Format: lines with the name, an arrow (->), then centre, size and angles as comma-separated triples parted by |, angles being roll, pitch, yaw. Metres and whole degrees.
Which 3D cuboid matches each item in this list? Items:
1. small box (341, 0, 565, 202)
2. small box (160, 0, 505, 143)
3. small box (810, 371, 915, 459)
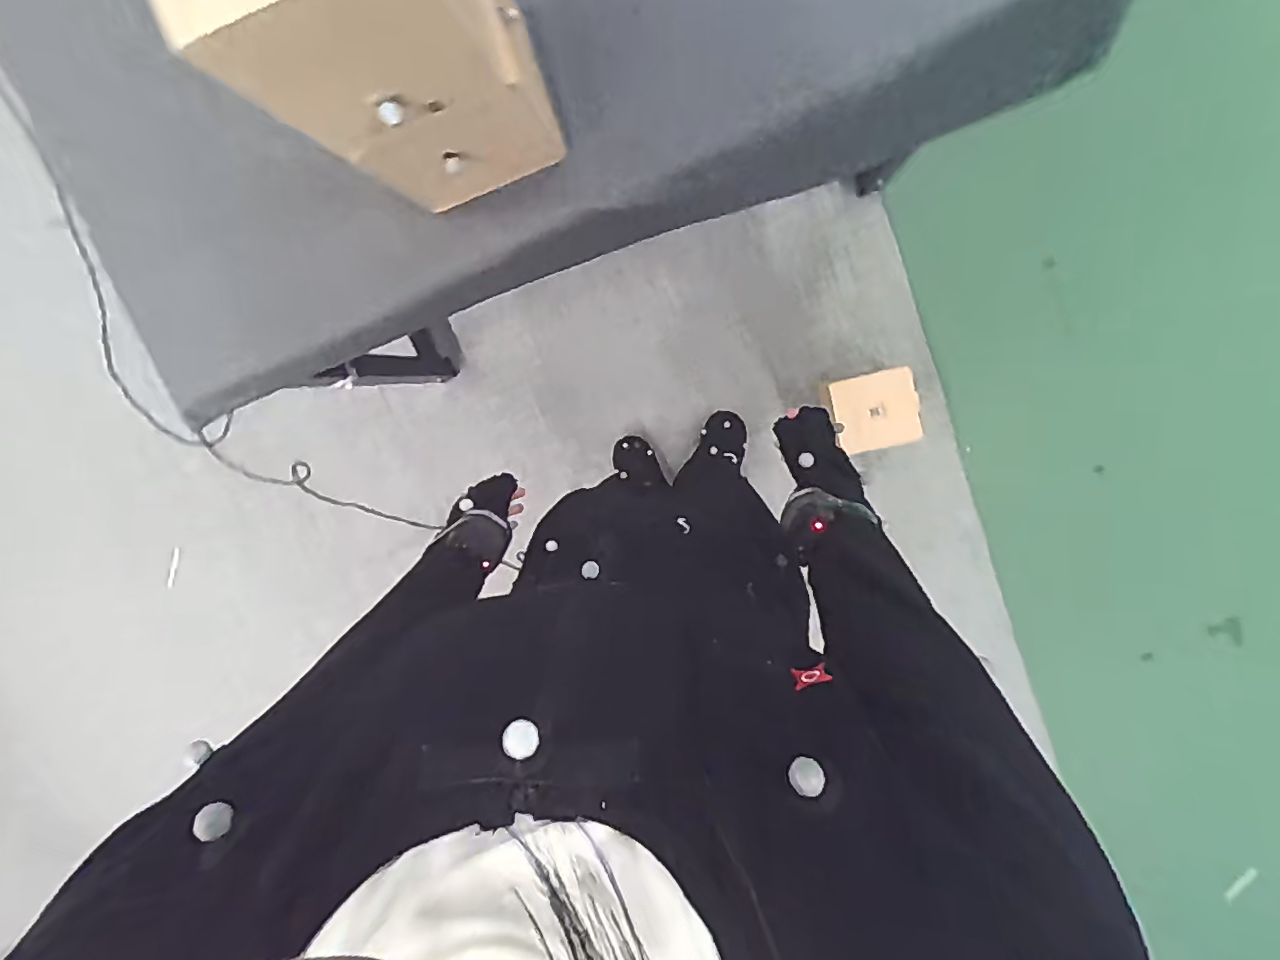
small box -> -0.198, -0.412, 0.547 | 0.179, 0.176, 0.168 | -16, 98, 10
small box -> -0.219, -0.386, 0.386 | 0.168, 0.176, 0.179 | -13, 99, 9
small box -> 0.510, -0.155, 1.257 | 0.179, 0.176, 0.168 | -12, 98, 10
